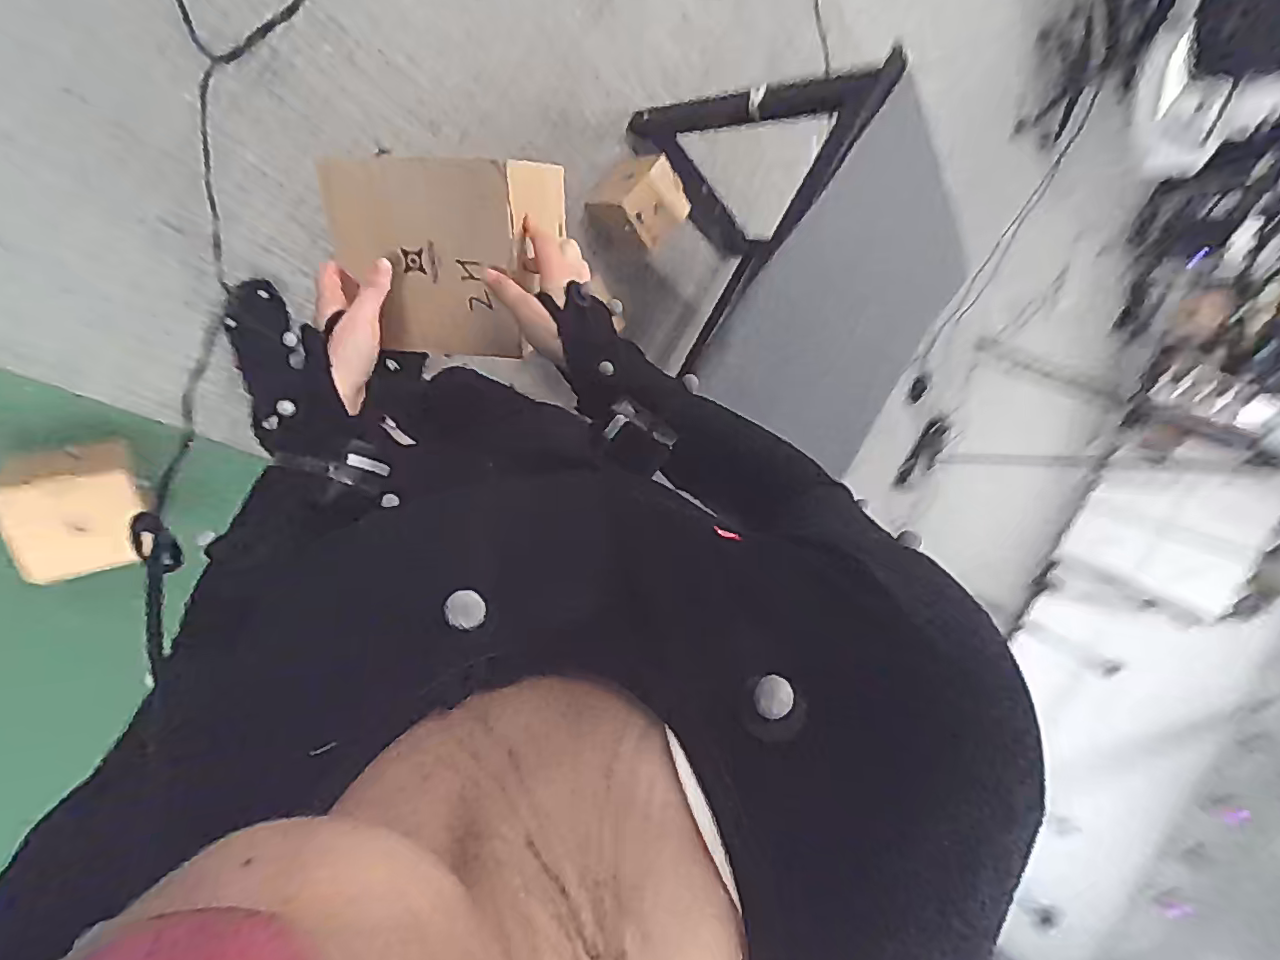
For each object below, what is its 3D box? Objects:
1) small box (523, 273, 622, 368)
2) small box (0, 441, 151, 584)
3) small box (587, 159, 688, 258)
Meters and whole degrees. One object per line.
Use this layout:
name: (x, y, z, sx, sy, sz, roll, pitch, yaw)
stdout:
small box: (-0.188, -0.430, 1.444, 0.179, 0.176, 0.168, -47, 135, -15)
small box: (-0.994, 0.048, 0.955, 0.168, 0.176, 0.179, -16, 121, -36)
small box: (-0.009, -0.728, 1.454, 0.179, 0.176, 0.168, -53, 135, -9)
